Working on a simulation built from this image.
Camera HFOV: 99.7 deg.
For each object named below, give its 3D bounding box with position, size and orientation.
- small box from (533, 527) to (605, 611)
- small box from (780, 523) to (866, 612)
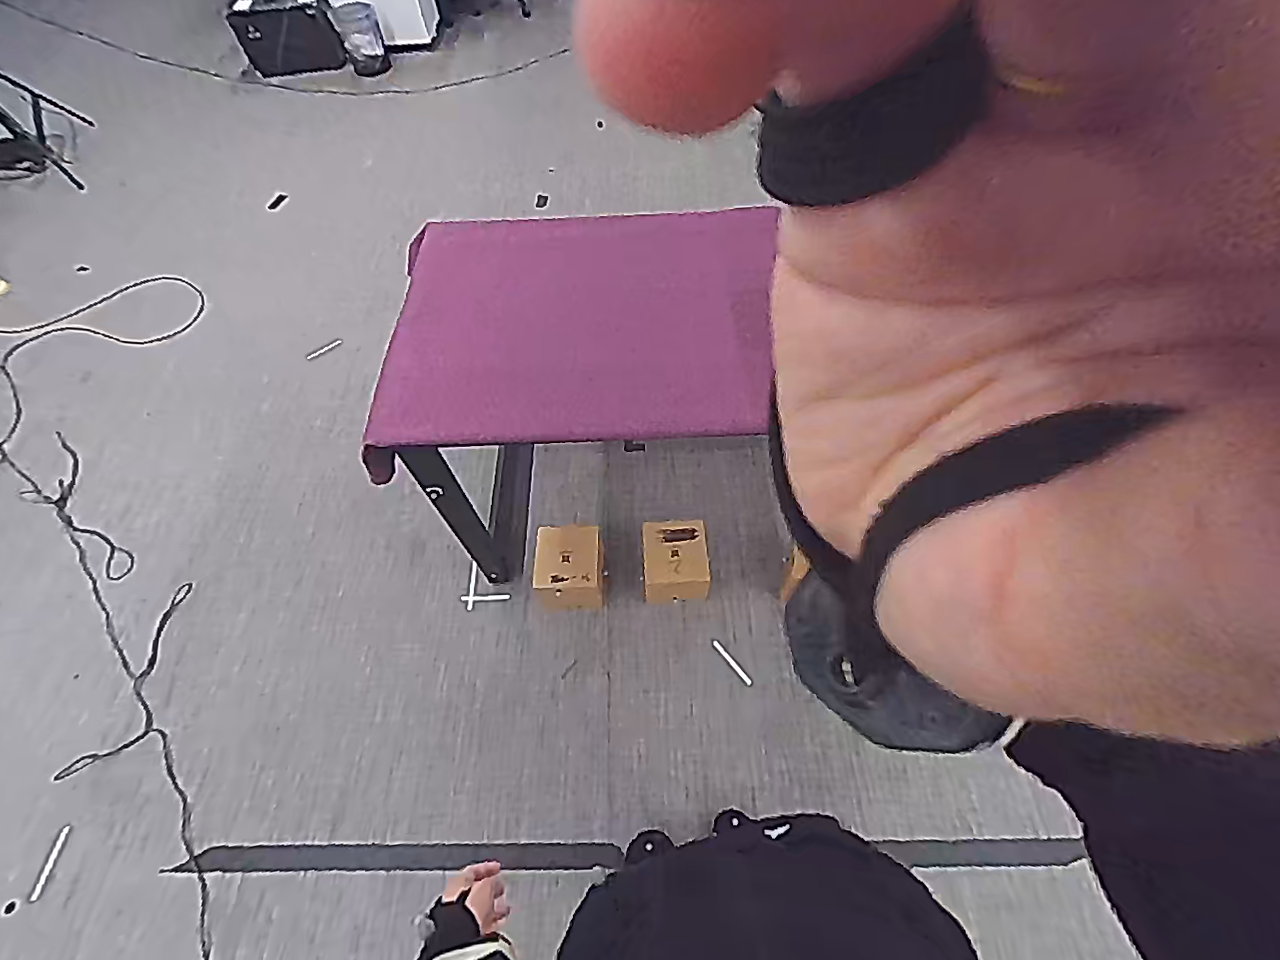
[{"bbox_3d":[-0.186,0.244,1.472,0.168,0.176,0.179,-1,57,2],"label":"small box"},{"bbox_3d":[0.487,0.239,1.450,0.179,0.176,0.168,12,60,11],"label":"small box"}]
